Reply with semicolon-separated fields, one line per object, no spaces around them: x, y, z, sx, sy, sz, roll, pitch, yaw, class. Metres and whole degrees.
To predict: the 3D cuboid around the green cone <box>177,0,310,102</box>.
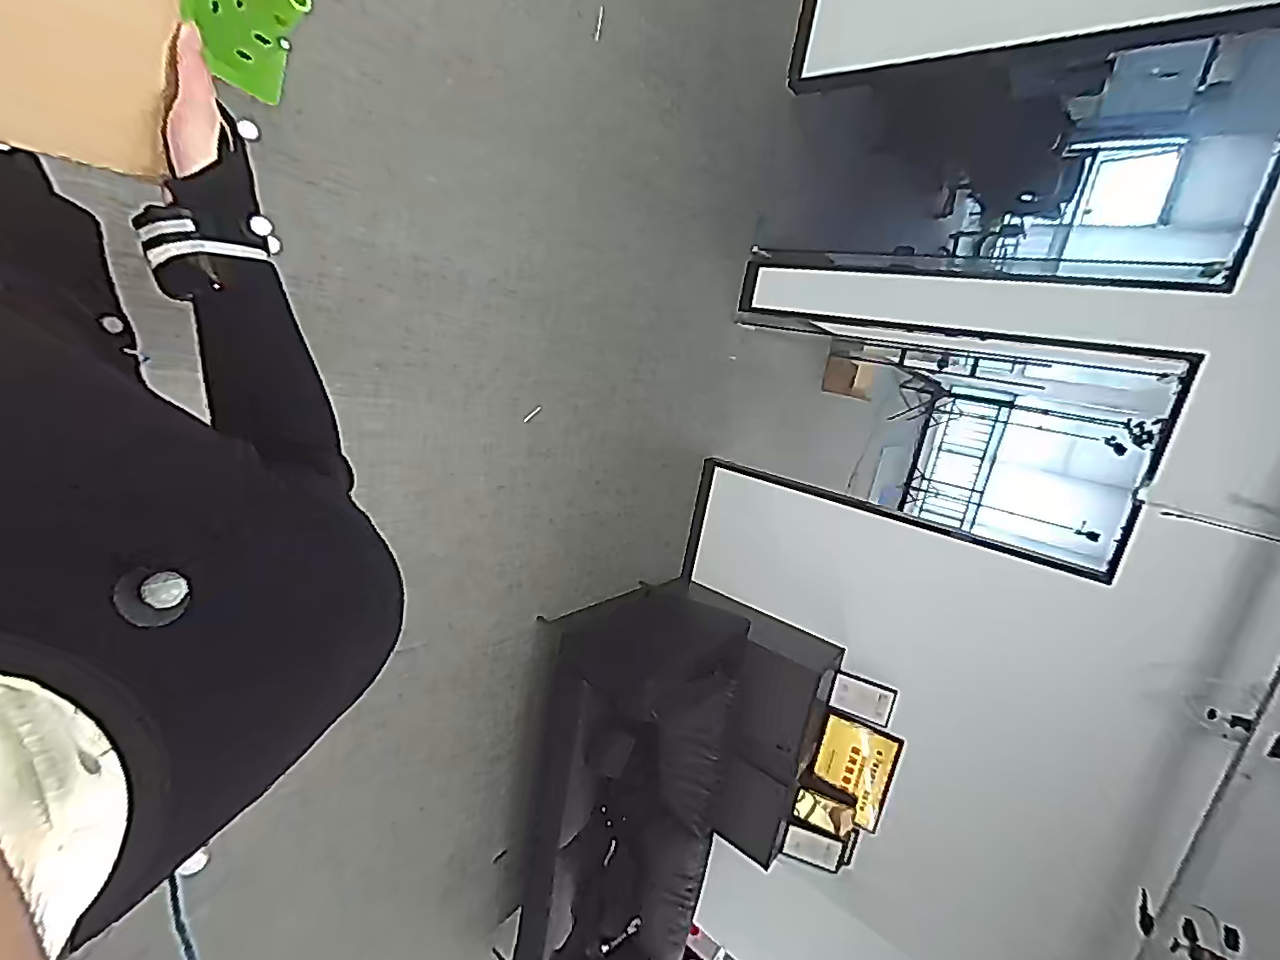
-0.766;-0.943;1.100;0.200;0.368;0.202;3;103;-55;green cone
